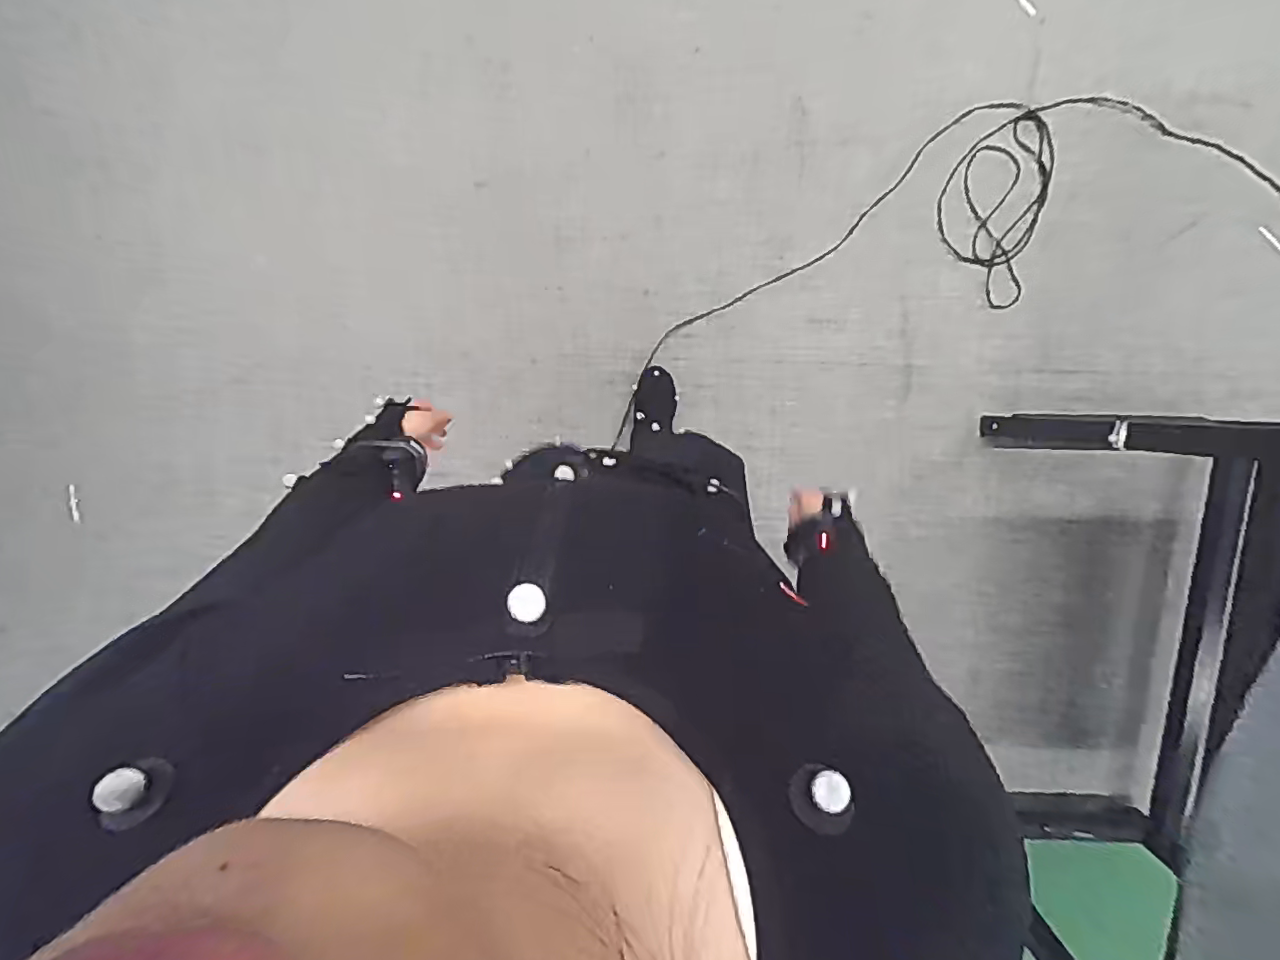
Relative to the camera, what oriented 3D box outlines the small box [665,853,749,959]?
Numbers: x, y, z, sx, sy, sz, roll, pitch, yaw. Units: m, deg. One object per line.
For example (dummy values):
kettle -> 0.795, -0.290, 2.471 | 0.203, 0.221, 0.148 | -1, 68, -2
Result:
small box -> 0.185, 1.227, 1.561 | 0.168, 0.176, 0.179 | -42, 96, 6
